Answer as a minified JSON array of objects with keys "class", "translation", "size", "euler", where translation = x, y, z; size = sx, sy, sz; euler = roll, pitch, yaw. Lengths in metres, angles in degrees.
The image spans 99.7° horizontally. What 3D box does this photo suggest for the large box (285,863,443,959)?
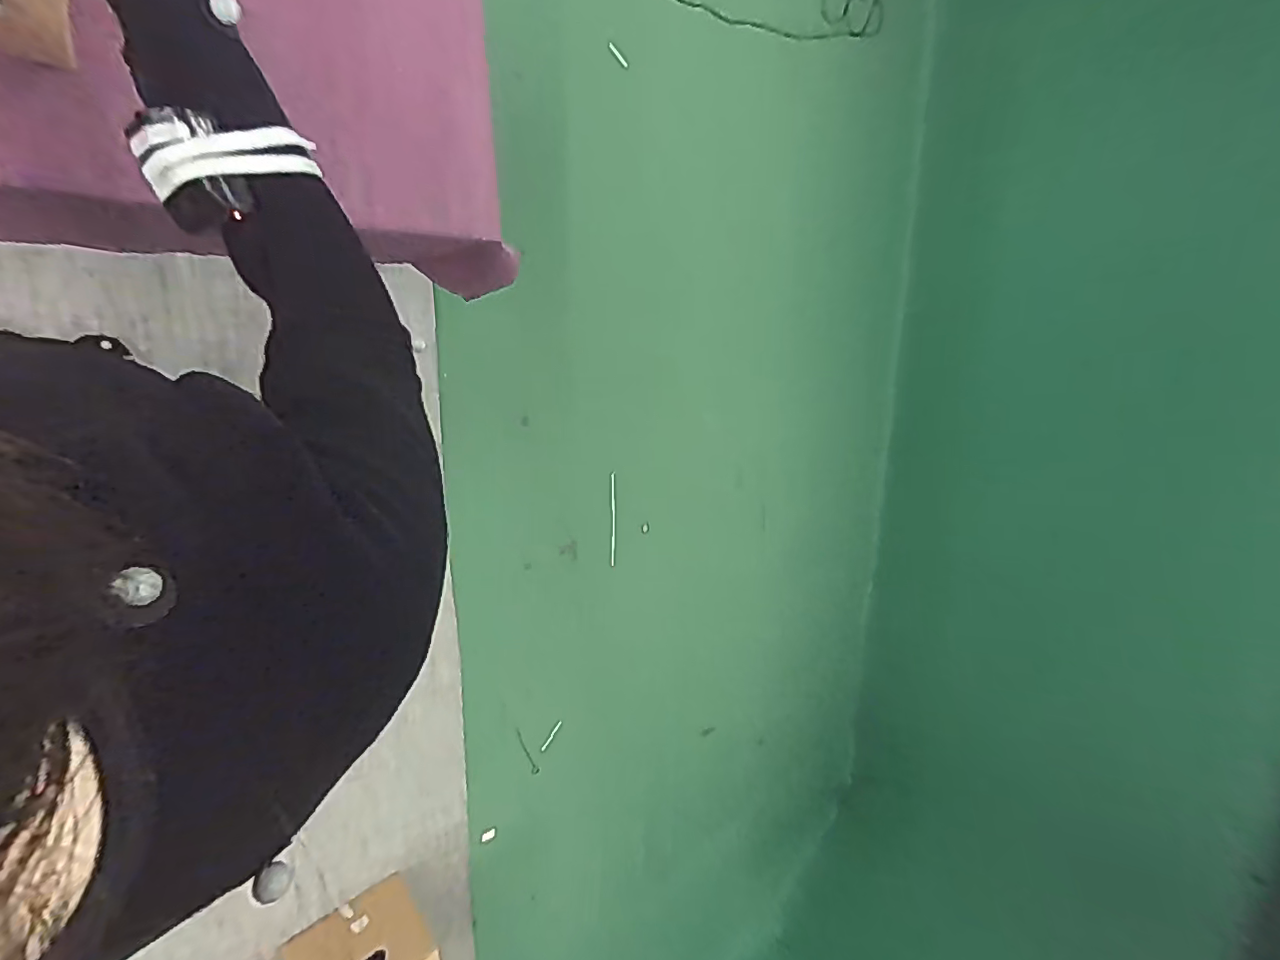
[{"class":"large box","translation":[-0.770,1.436,1.542],"size":[0.320,0.320,0.408],"euler":[-13,109,-42]}]
